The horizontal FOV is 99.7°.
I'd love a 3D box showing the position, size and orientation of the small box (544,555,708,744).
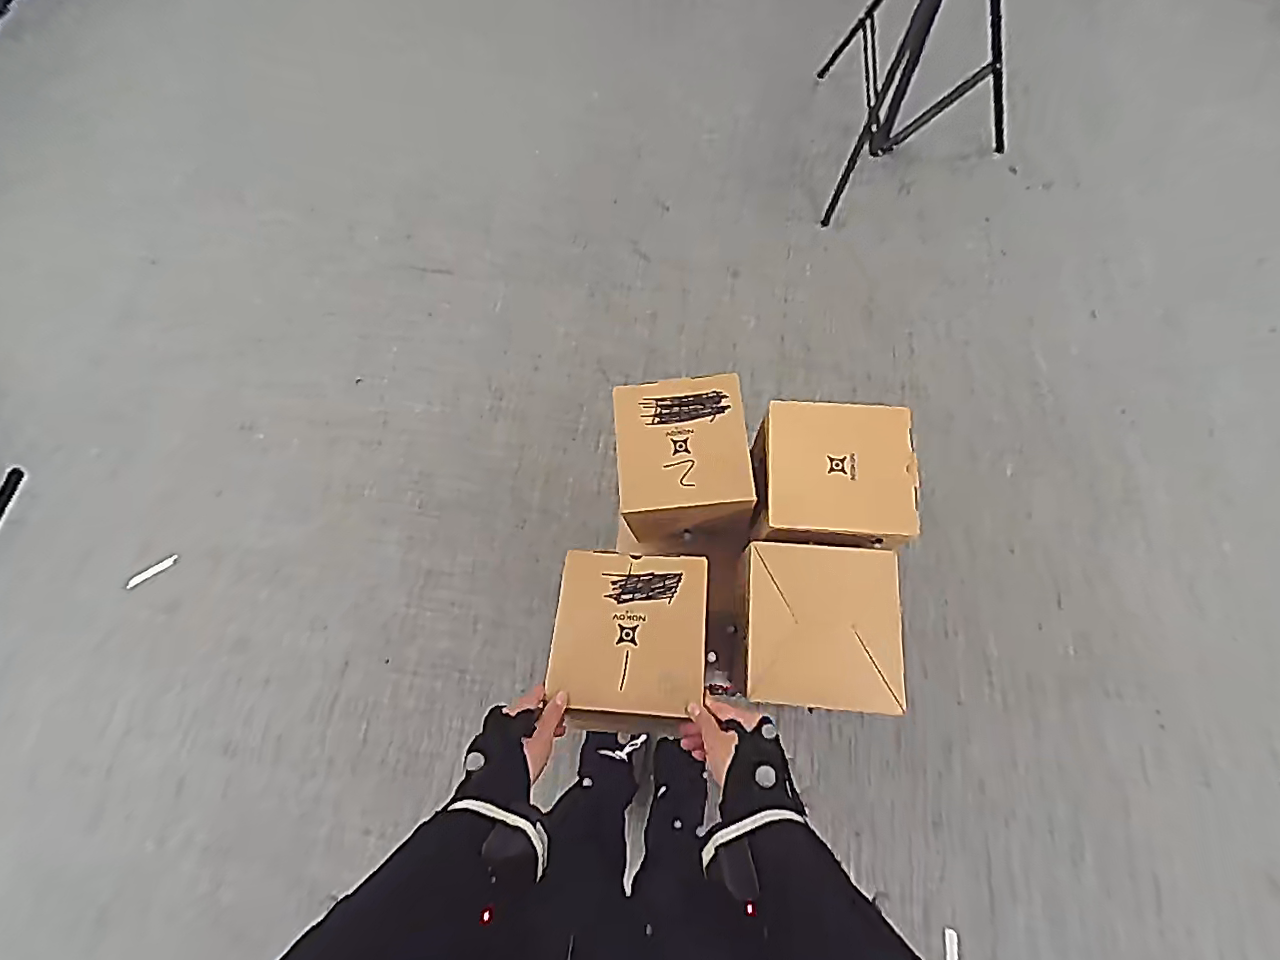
[{"bbox_3d":[-0.007,0.209,0.658,0.168,0.176,0.179,2,59,6],"label":"small box"}]
